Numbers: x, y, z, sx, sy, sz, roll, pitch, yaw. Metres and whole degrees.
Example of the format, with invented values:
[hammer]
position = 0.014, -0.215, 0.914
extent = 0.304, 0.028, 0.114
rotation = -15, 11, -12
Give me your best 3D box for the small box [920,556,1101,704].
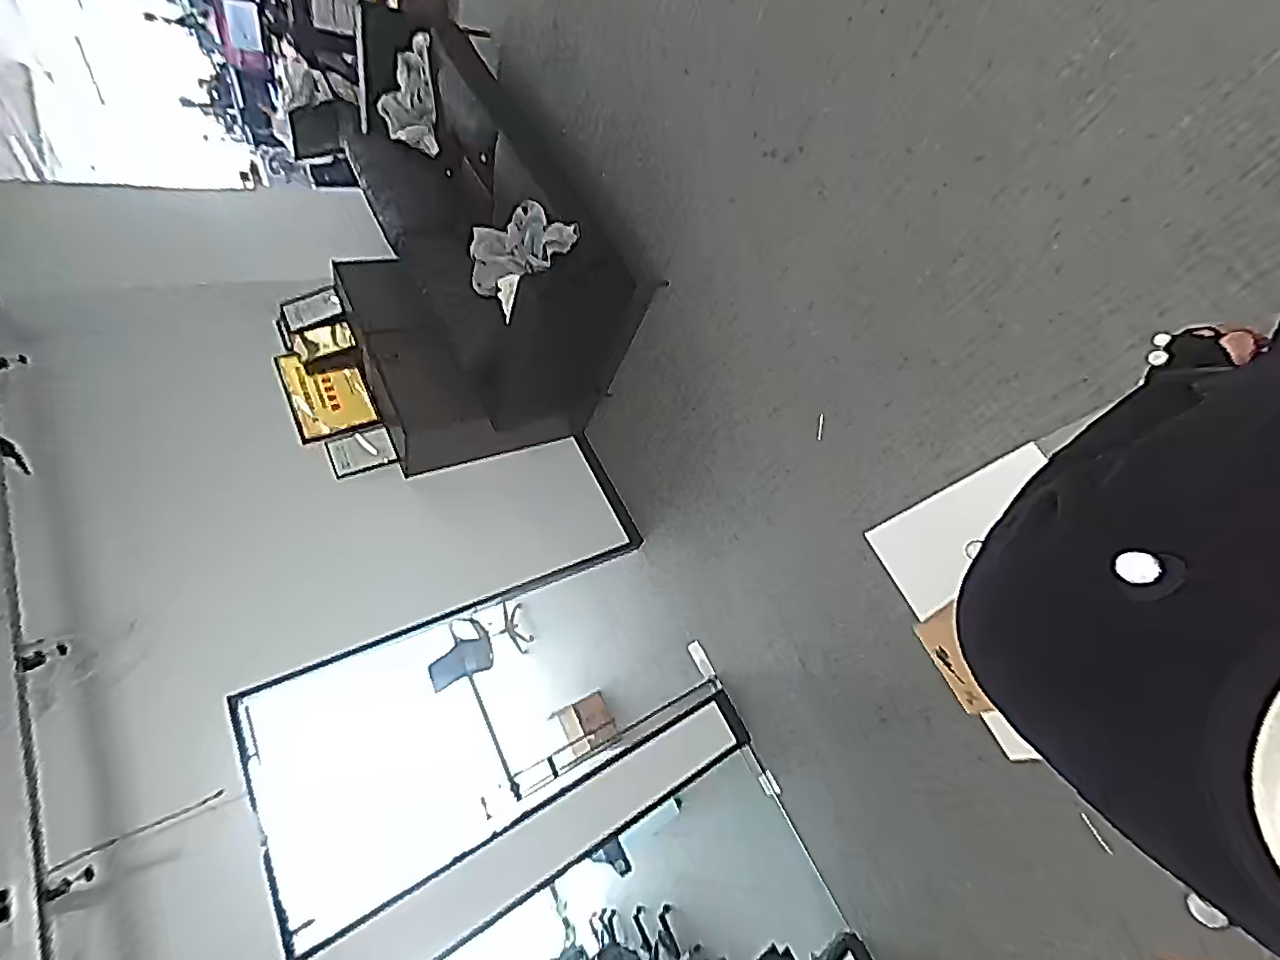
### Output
[small box]
position = 0.635, 0.253, 0.925
extent = 0.168, 0.176, 0.179
rotation = 60, 147, 18
